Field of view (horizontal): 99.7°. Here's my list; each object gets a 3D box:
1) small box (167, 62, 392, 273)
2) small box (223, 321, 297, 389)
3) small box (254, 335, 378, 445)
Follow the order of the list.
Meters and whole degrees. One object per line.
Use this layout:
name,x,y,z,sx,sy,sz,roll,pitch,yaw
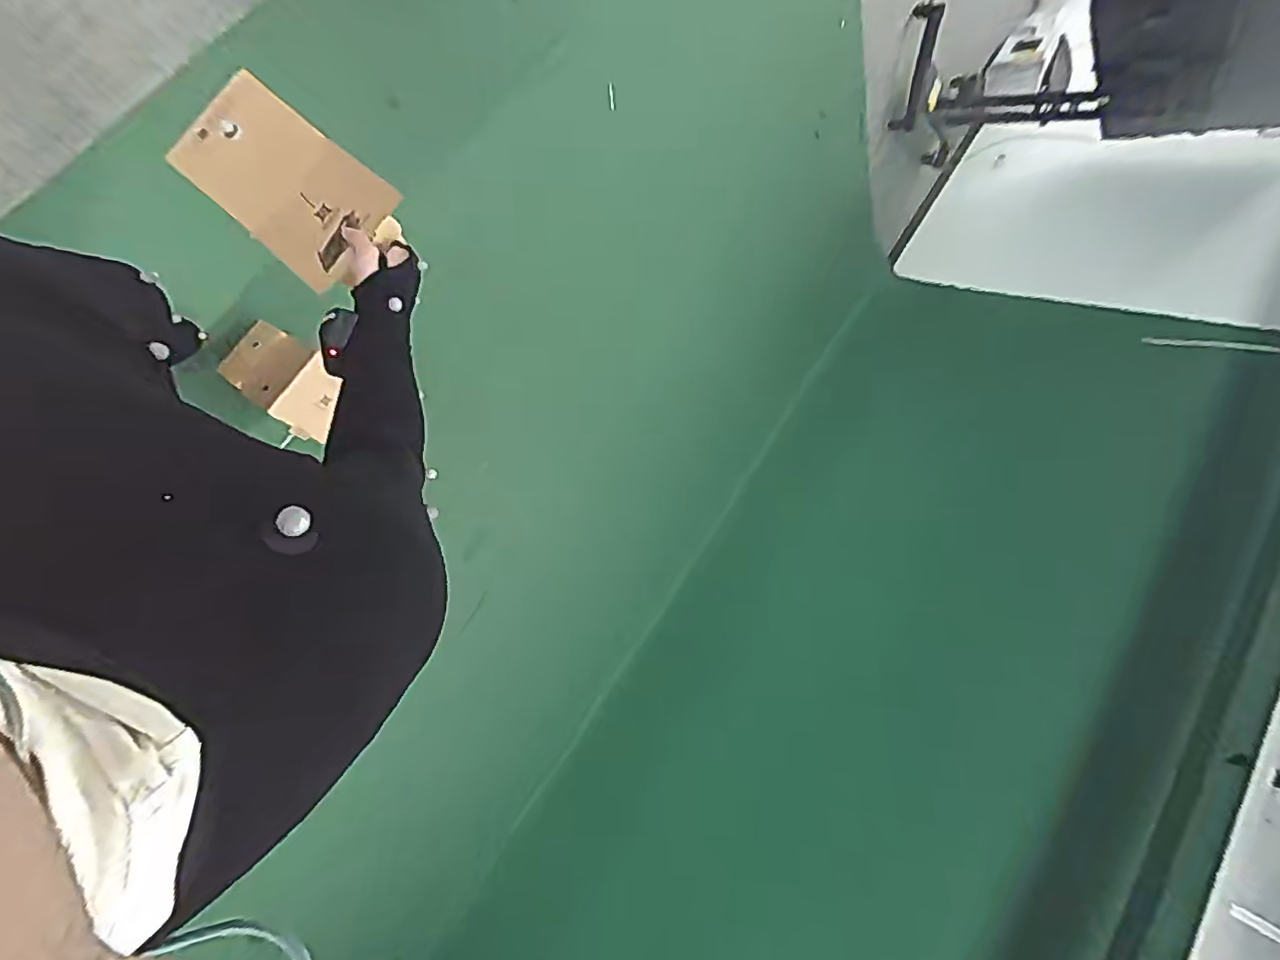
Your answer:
small box,-0.518,-0.450,0.796,0.168,0.176,0.179,-50,178,0
small box,-0.900,-0.281,1.366,0.168,0.176,0.179,-57,145,-11
small box,-0.775,-0.215,1.285,0.179,0.176,0.168,-57,145,-11
